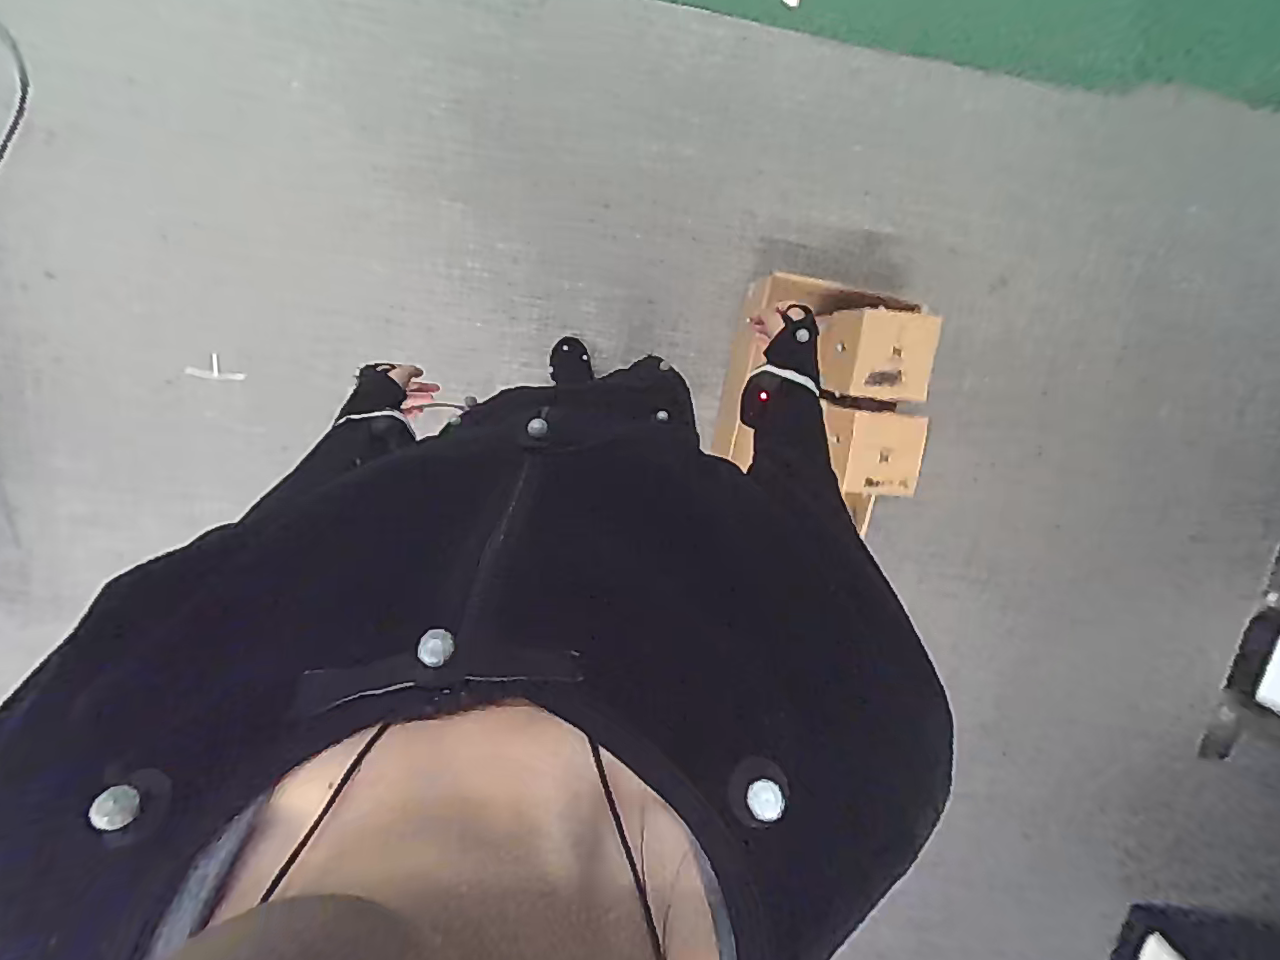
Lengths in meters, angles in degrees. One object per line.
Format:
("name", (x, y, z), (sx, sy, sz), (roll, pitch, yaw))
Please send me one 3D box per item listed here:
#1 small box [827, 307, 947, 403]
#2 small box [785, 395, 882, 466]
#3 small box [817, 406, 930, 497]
("small box", (0.523, -0.272, 1.174), (0.168, 0.176, 0.179), (6, 104, -3))
("small box", (0.493, -0.119, 1.380), (0.179, 0.176, 0.168), (10, 101, -4))
("small box", (0.517, -0.071, 1.224), (0.168, 0.176, 0.179), (5, 102, -4))
